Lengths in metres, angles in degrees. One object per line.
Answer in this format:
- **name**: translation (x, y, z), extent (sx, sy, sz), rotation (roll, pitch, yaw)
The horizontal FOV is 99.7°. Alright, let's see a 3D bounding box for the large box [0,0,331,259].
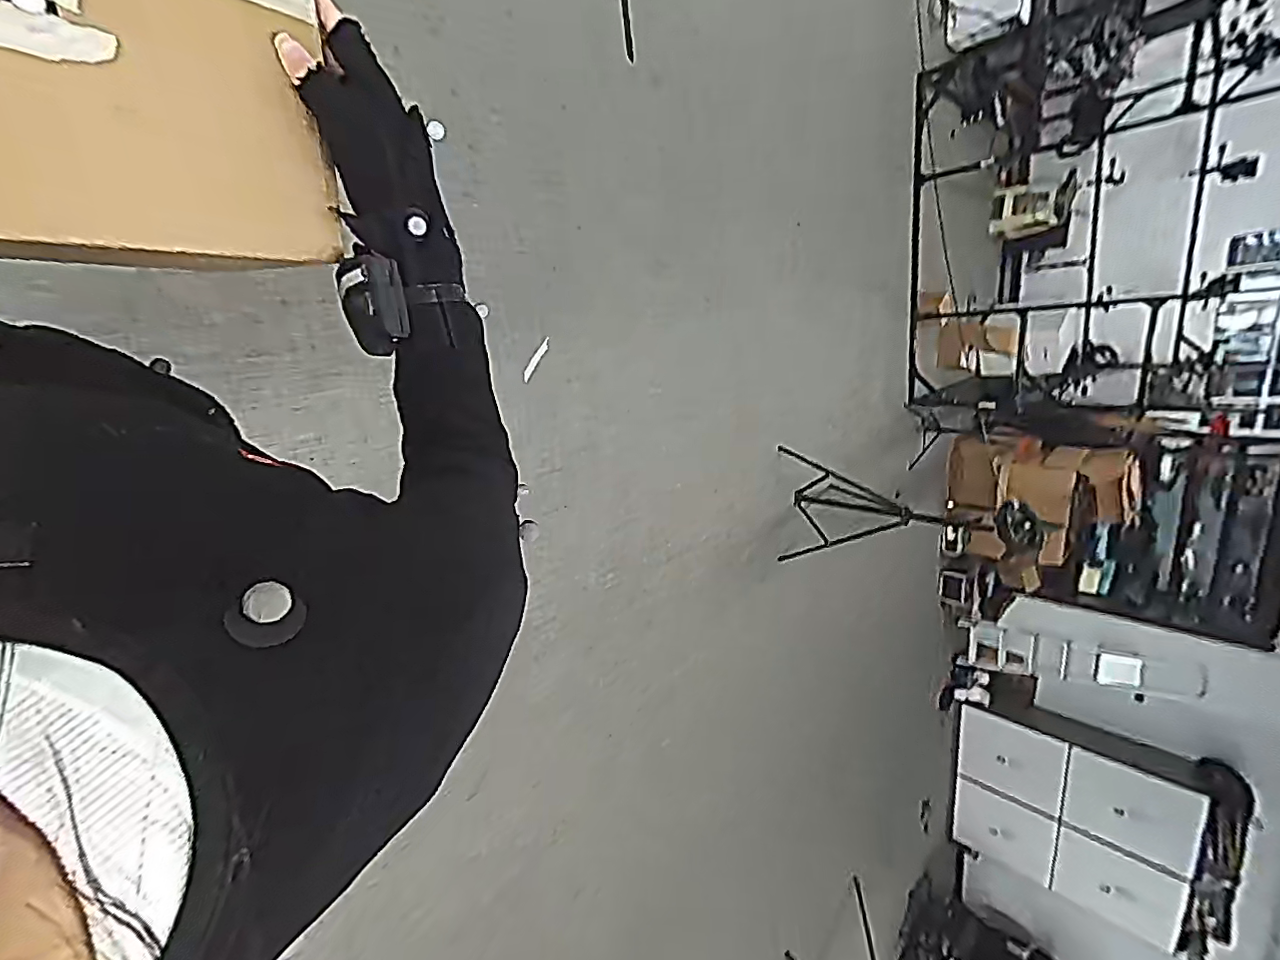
- **large box**: translation (-0.475, -0.311, 0.319), extent (0.408, 0.320, 0.320), rotation (-18, 117, -45)
